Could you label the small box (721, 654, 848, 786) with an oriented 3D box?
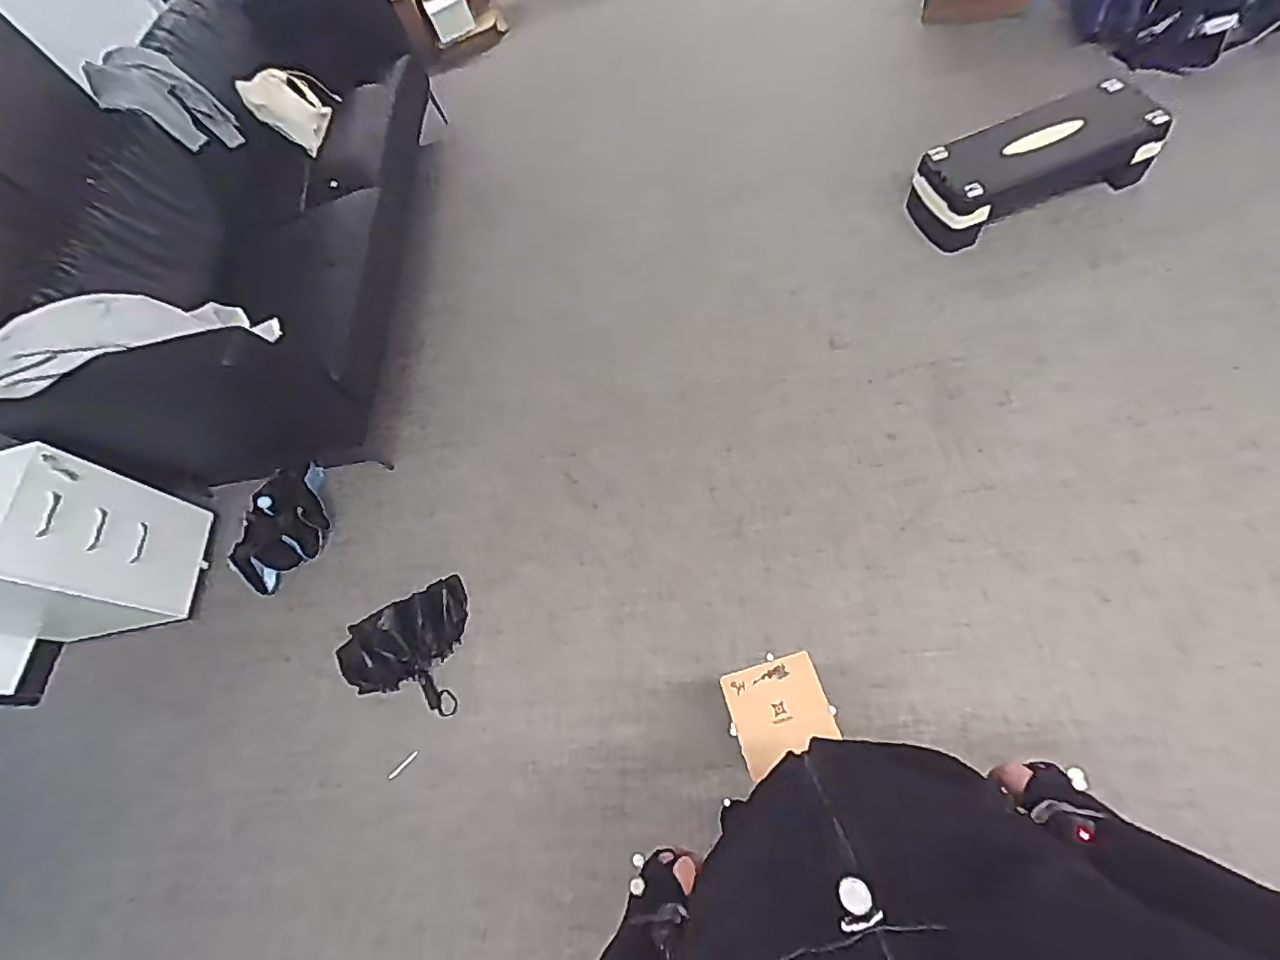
[{"bbox_3d":[0.260,0.434,0.988,0.168,0.176,0.179,-19,63,5],"label":"small box"}]
